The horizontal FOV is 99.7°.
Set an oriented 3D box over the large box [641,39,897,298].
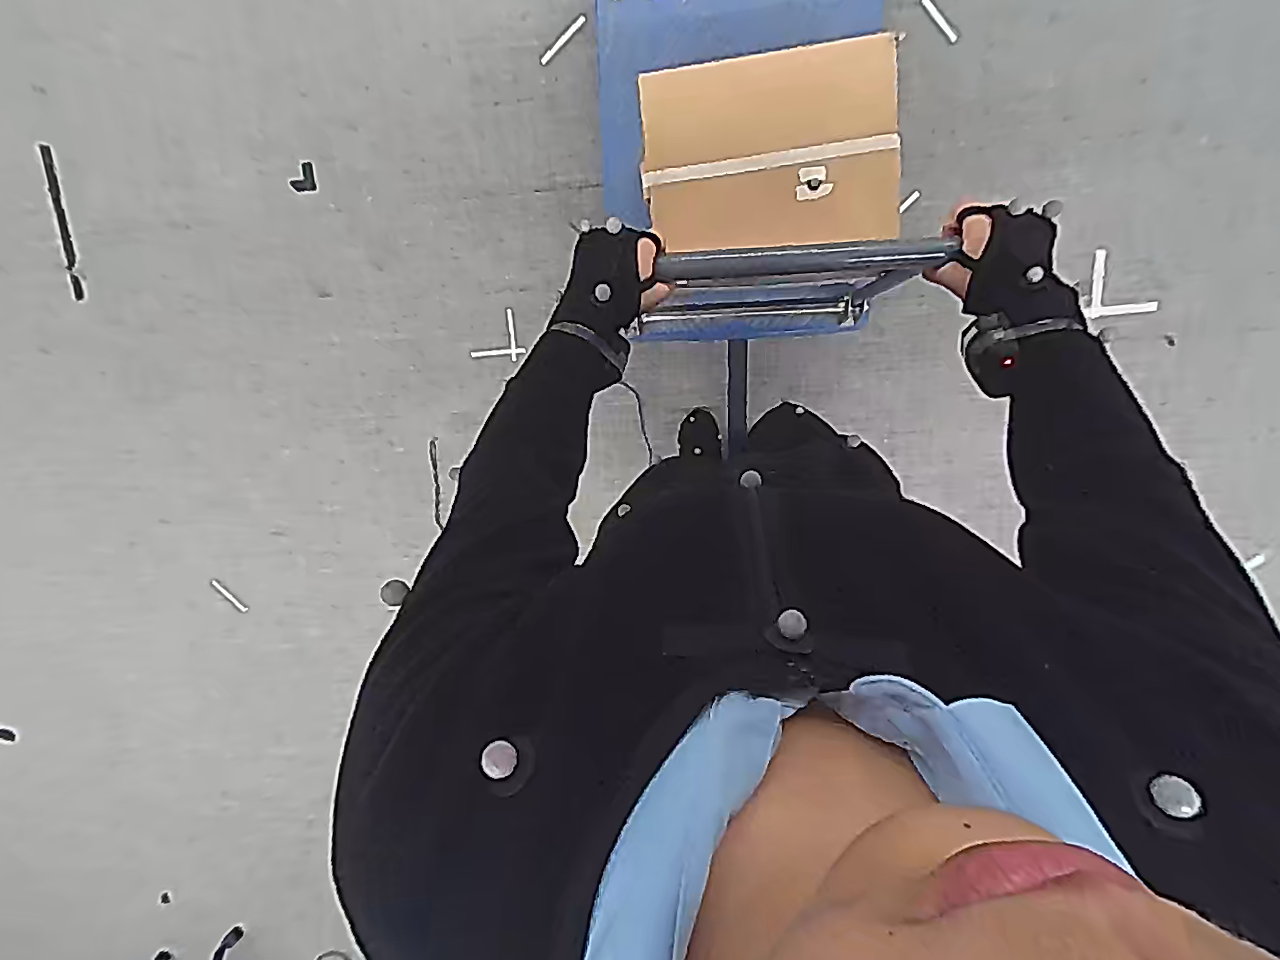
[{"bbox_3d":[0.224,-0.552,1.038,0.408,0.320,0.320,-6,102,5],"label":"large box"}]
